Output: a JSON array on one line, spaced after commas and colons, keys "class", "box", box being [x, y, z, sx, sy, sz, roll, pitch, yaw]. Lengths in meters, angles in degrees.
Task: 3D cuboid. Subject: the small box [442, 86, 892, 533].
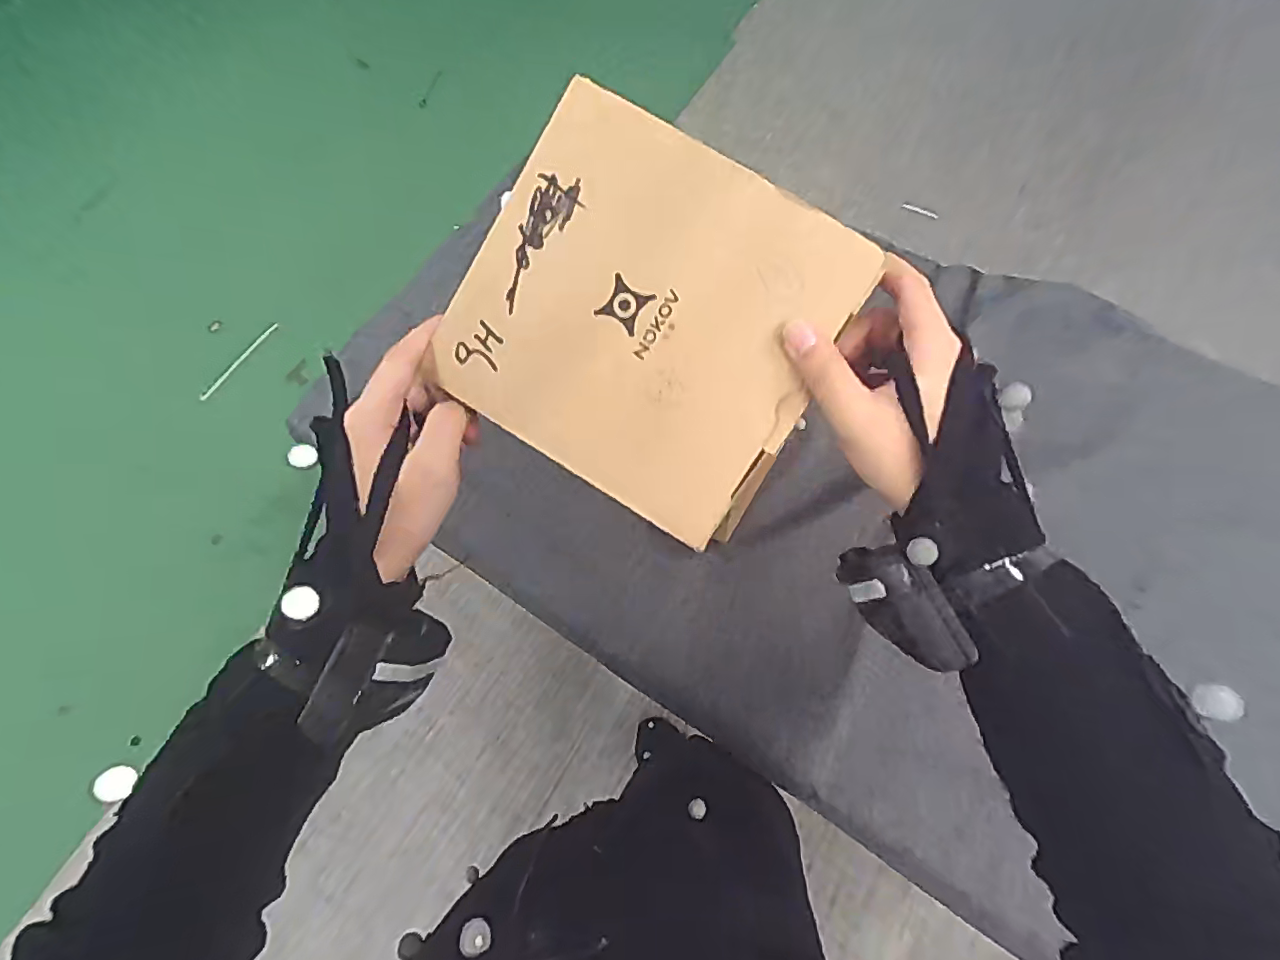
[{"class": "small box", "box": [0.018, -0.090, 0.351, 0.179, 0.176, 0.168, 31, 96, 5]}]
